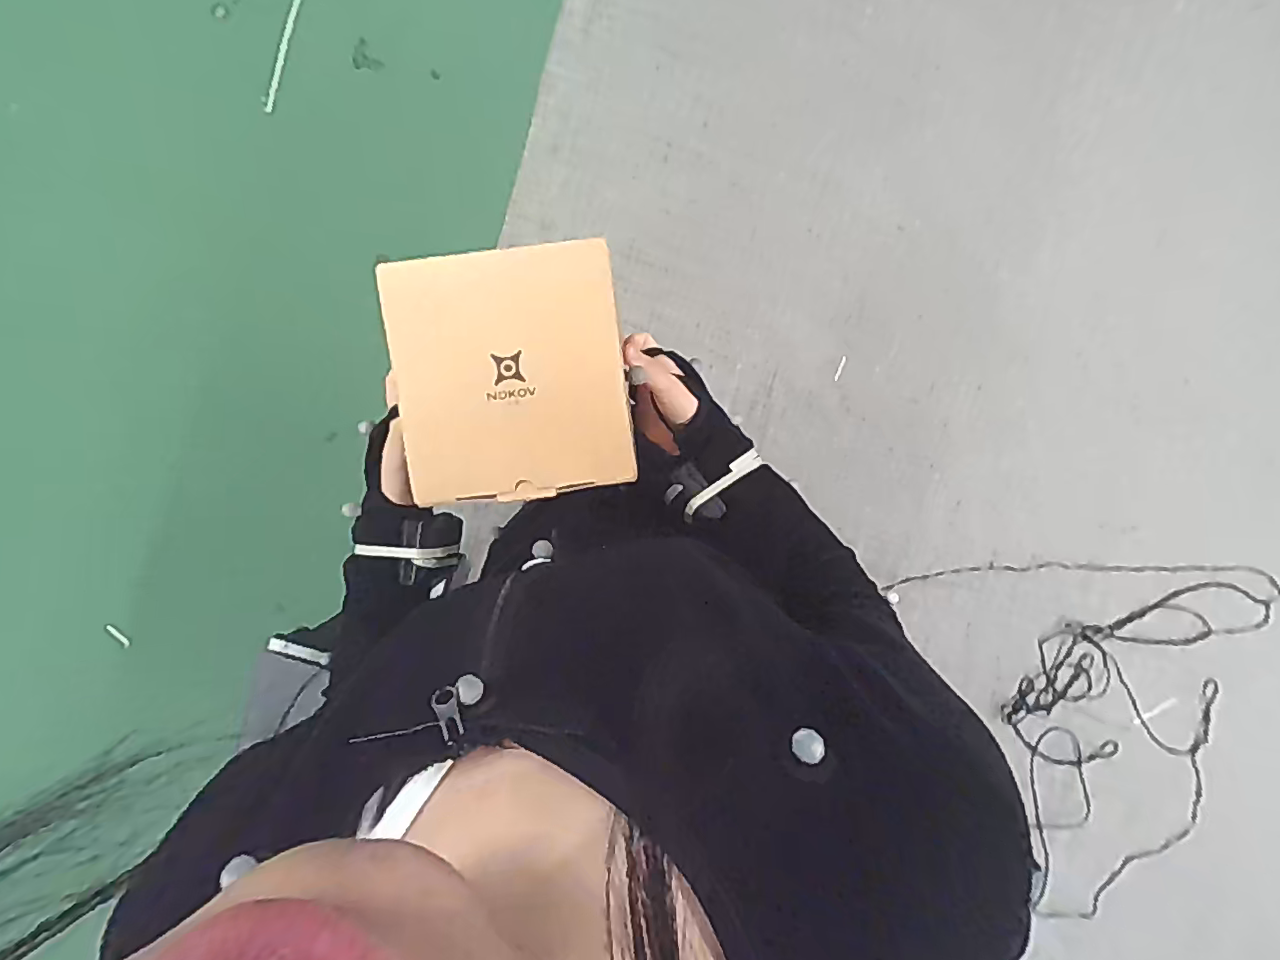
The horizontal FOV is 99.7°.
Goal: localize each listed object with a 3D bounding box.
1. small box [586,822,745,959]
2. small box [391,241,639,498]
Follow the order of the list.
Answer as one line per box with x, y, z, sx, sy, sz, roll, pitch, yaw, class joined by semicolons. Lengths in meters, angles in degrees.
0.025;0.621;0.740;0.168;0.176;0.179;17;94;-4;small box
-0.092;-0.087;0.474;0.168;0.176;0.179;-6;96;-1;small box
